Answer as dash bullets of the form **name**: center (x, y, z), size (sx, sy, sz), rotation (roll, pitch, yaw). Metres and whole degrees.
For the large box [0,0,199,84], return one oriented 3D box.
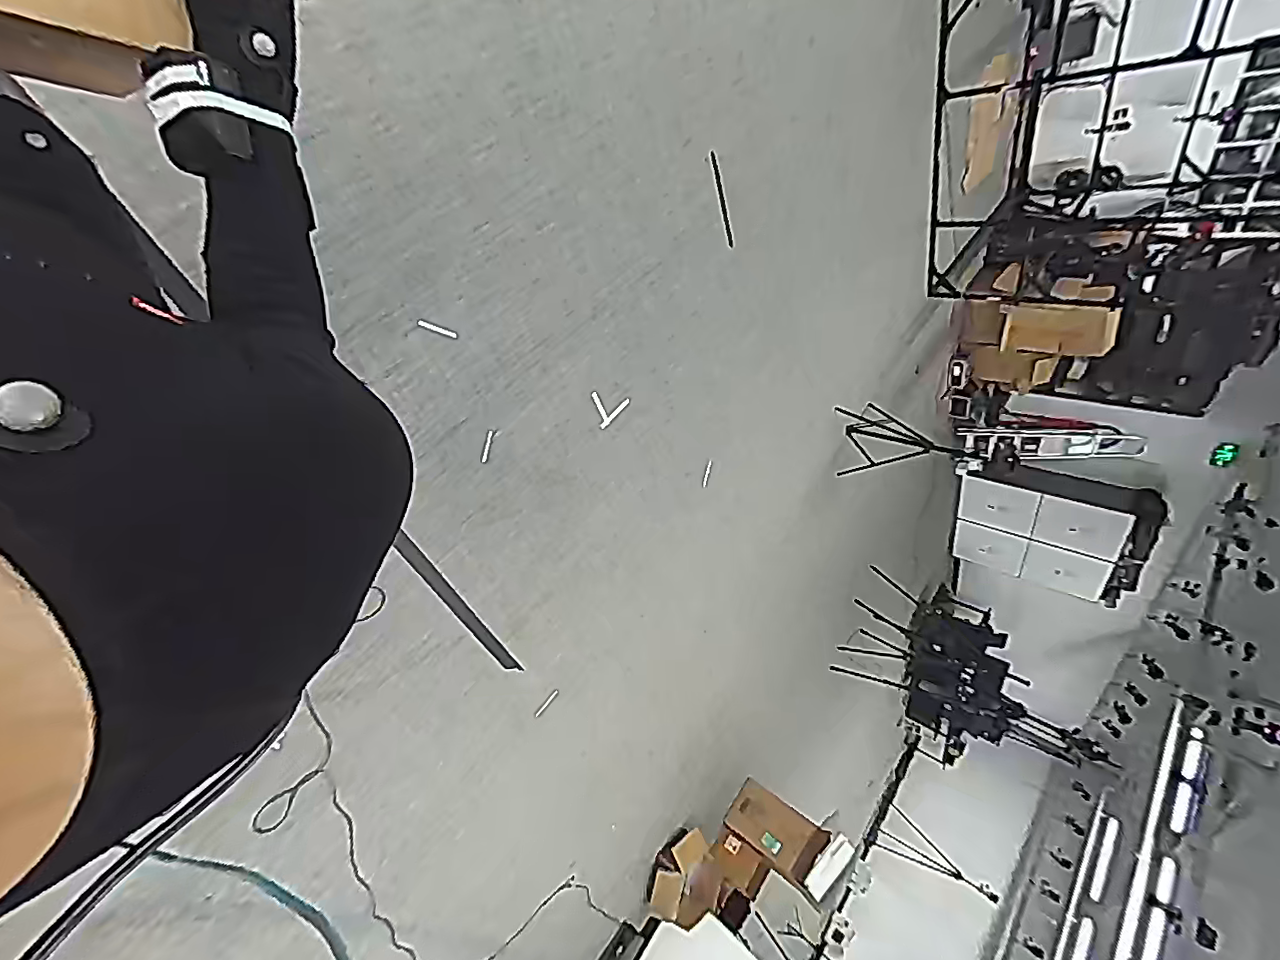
- **large box**: center (-0.549, -0.461, 0.282), size (0.408, 0.320, 0.320), rotation (-19, 124, -47)
